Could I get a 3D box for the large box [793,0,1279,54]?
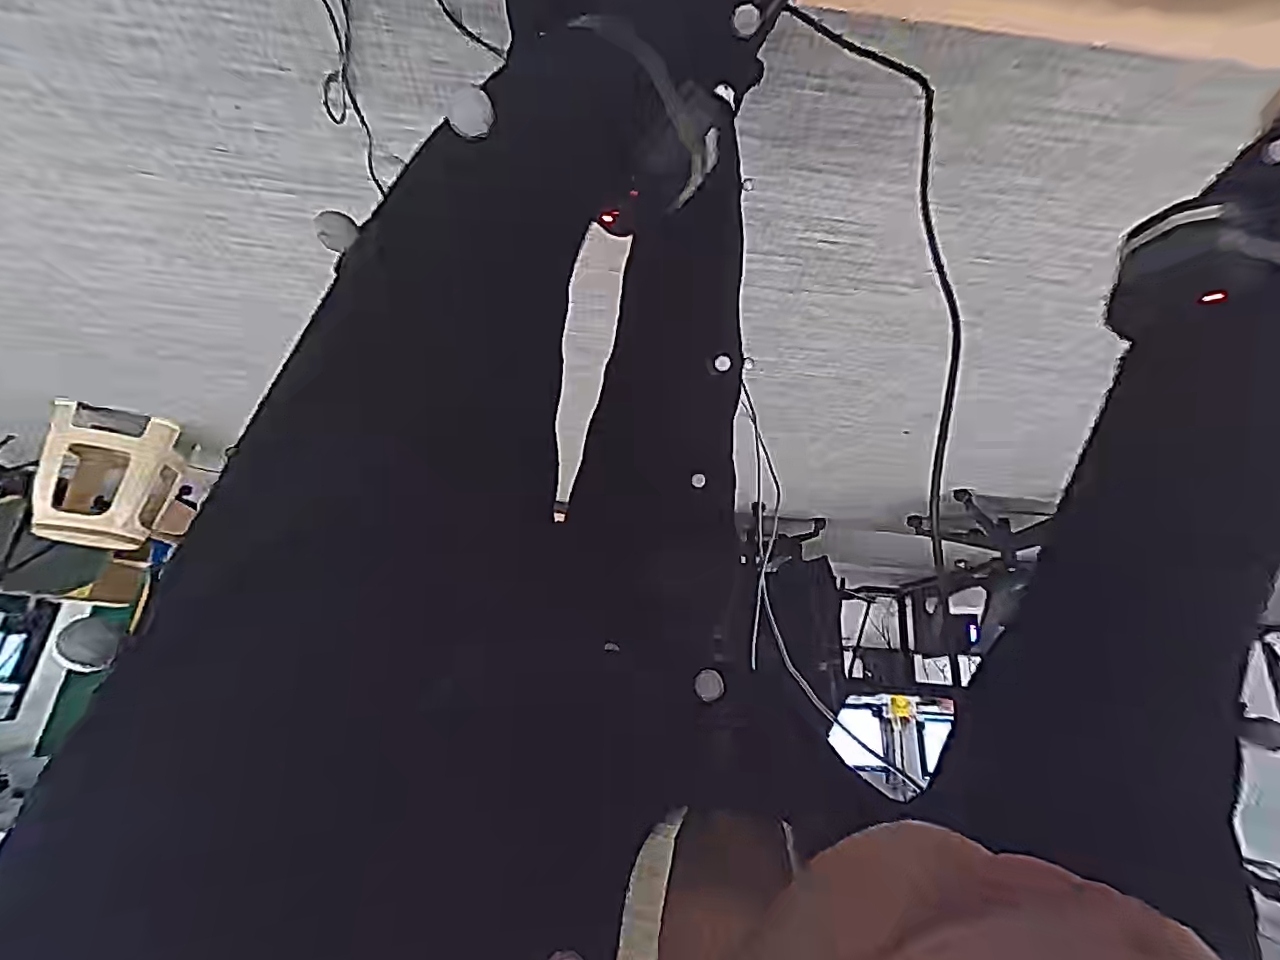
[{"bbox_3d":[0.308,-0.492,0.274,0.408,0.320,0.320,4,161,-3],"label":"large box"}]
